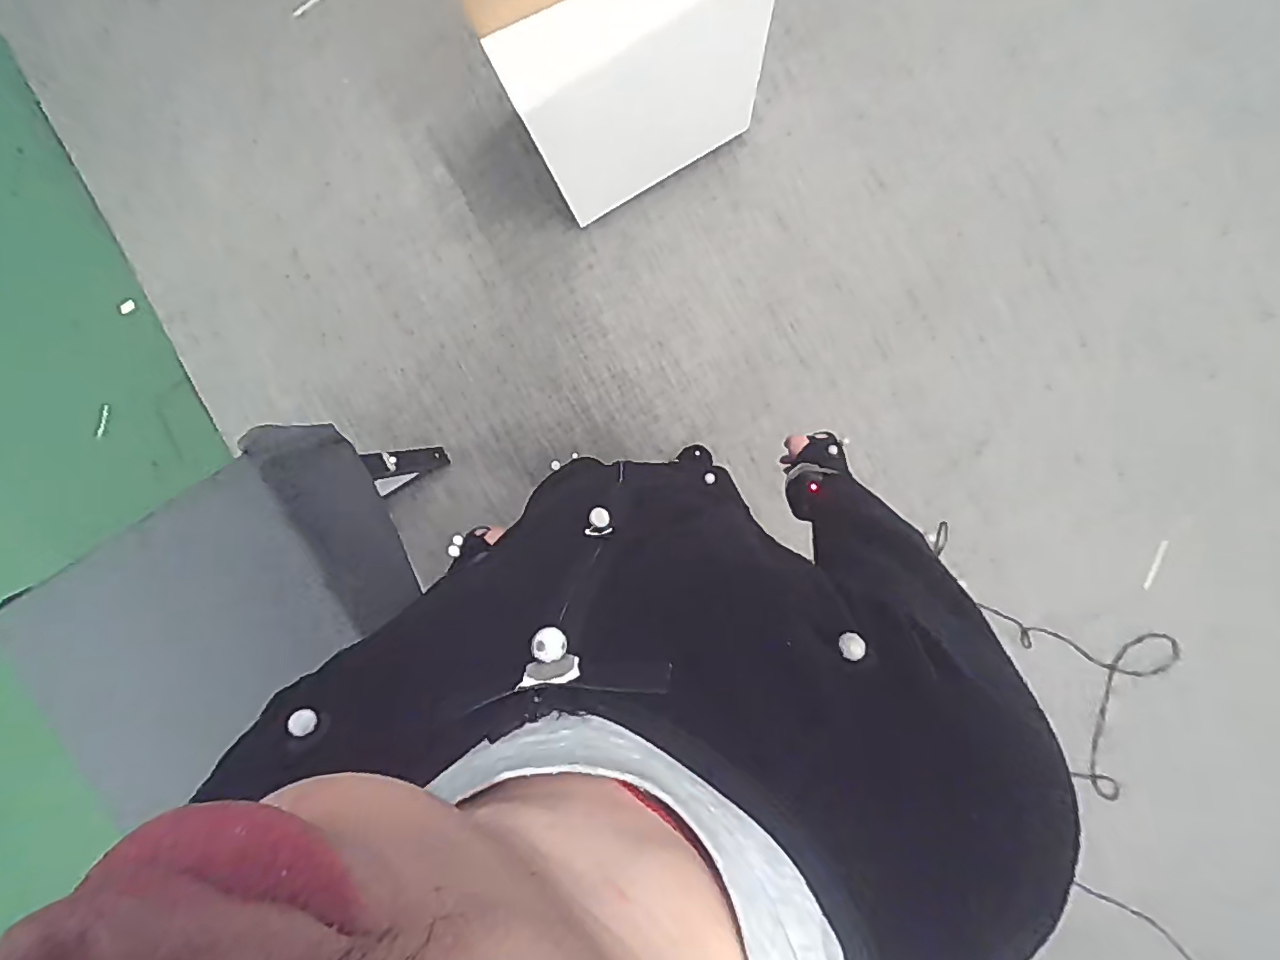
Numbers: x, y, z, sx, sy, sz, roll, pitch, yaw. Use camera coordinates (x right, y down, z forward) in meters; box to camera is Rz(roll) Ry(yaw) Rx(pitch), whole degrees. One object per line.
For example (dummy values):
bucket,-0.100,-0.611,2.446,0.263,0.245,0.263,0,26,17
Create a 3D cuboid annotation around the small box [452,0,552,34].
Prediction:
small box,-0.232,-0.833,0.808,0.179,0.176,0.168,-20,93,5
